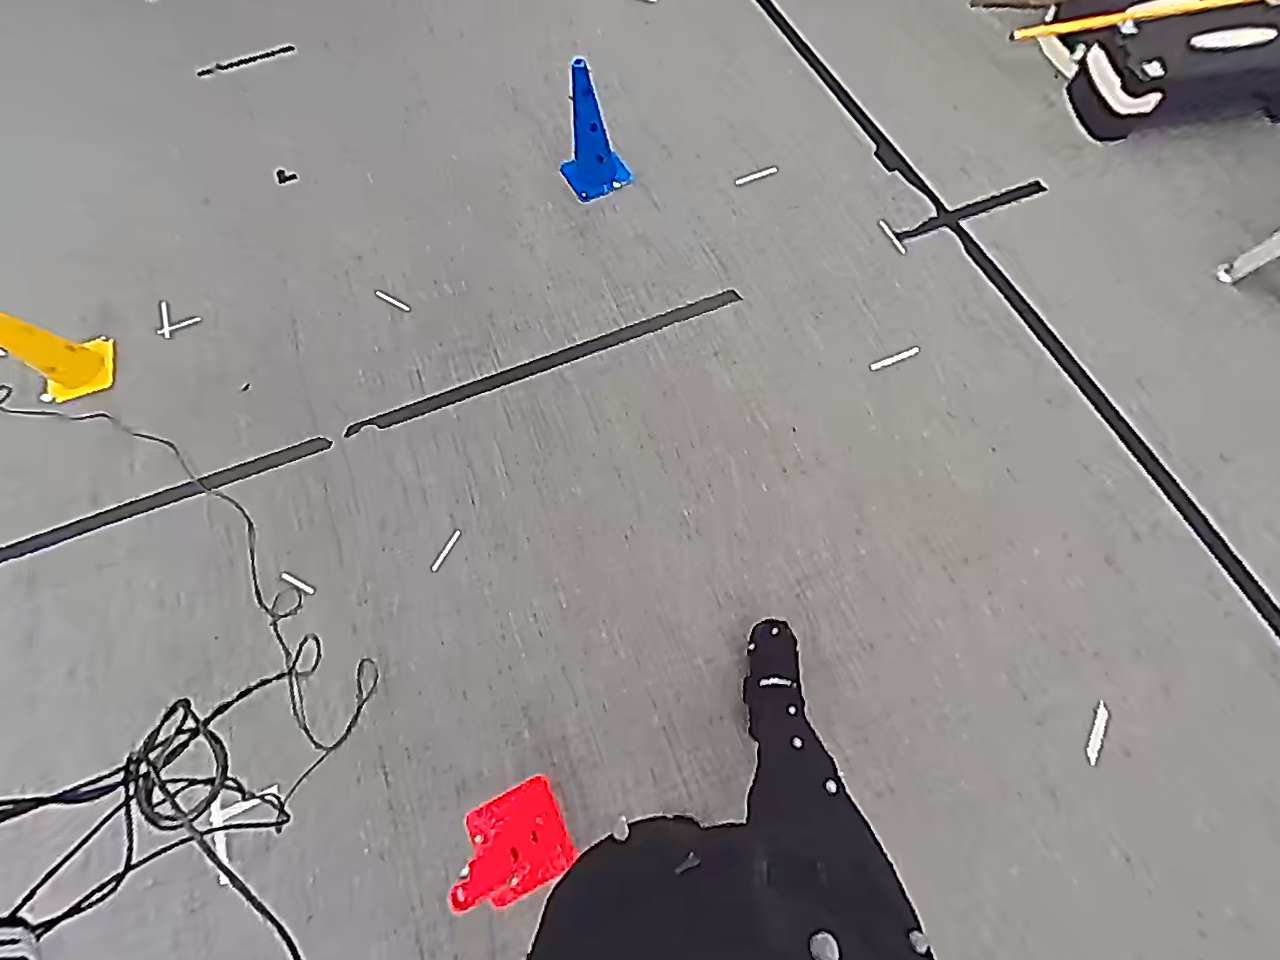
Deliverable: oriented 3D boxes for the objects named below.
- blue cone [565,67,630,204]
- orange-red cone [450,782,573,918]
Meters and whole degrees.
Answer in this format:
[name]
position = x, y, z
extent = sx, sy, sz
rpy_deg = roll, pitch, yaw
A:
[blue cone]
position = -0.159, -1.099, 1.706
extent = 0.193, 0.380, 0.192
rpy_deg = -26, 70, -6
[orange-red cone]
position = -0.272, 0.728, 1.013
extent = 0.199, 0.360, 0.198
rpy_deg = -25, 70, -7
